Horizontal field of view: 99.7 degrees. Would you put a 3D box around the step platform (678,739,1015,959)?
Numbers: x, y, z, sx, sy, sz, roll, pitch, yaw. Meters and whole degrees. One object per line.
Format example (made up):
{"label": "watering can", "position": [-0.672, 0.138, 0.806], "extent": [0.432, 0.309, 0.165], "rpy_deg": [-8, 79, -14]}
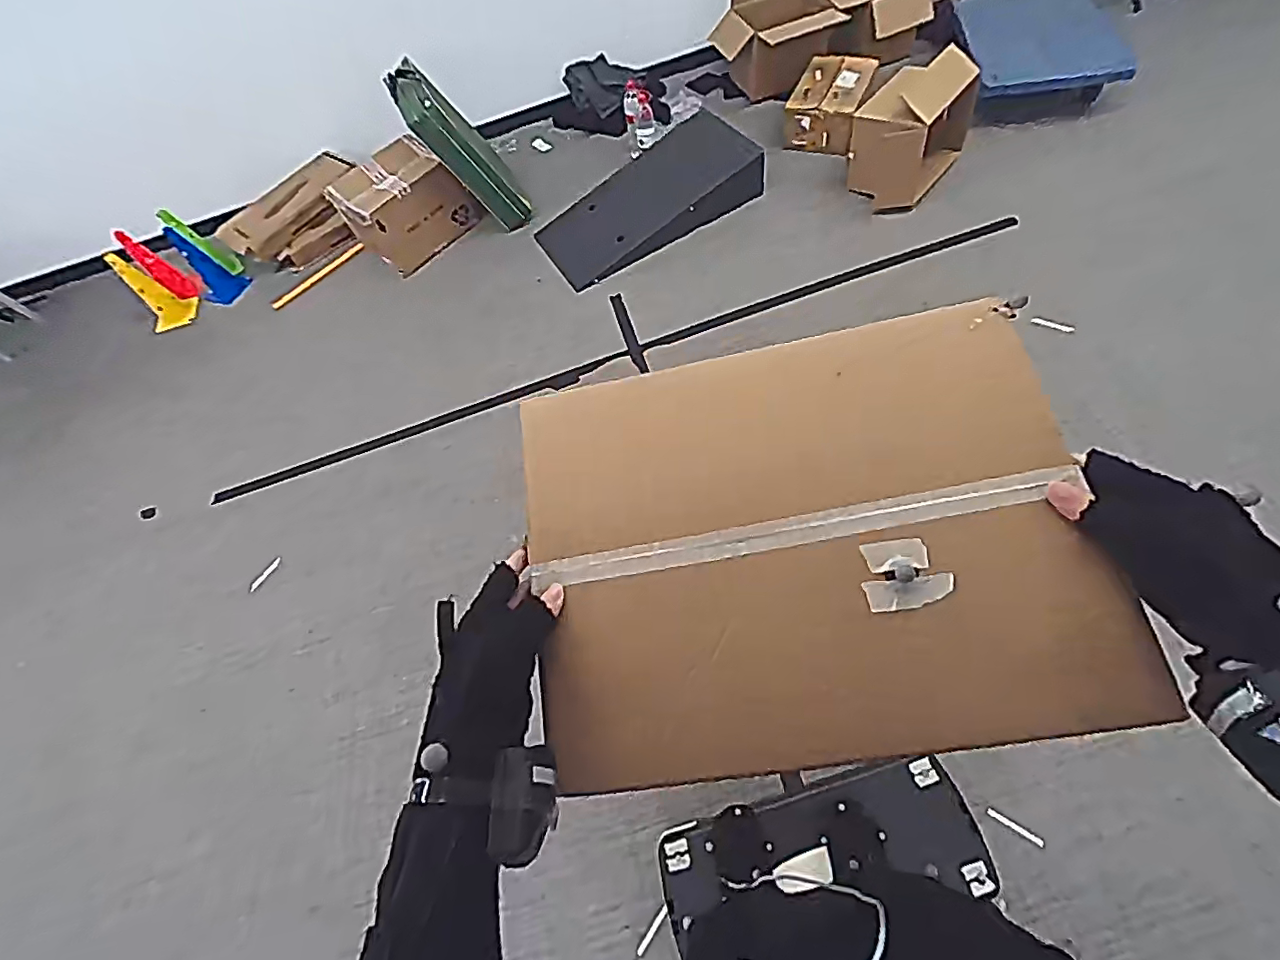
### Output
{"label": "step platform", "position": [0.431, 0.829, 1.205], "extent": [0.684, 0.204, 0.286], "rpy_deg": [-19, 60, -1]}

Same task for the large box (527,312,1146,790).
{"label": "large box", "position": [0.137, 0.088, 0.557], "extent": [0.408, 0.320, 0.320], "rpy_deg": [-11, 71, 7]}
